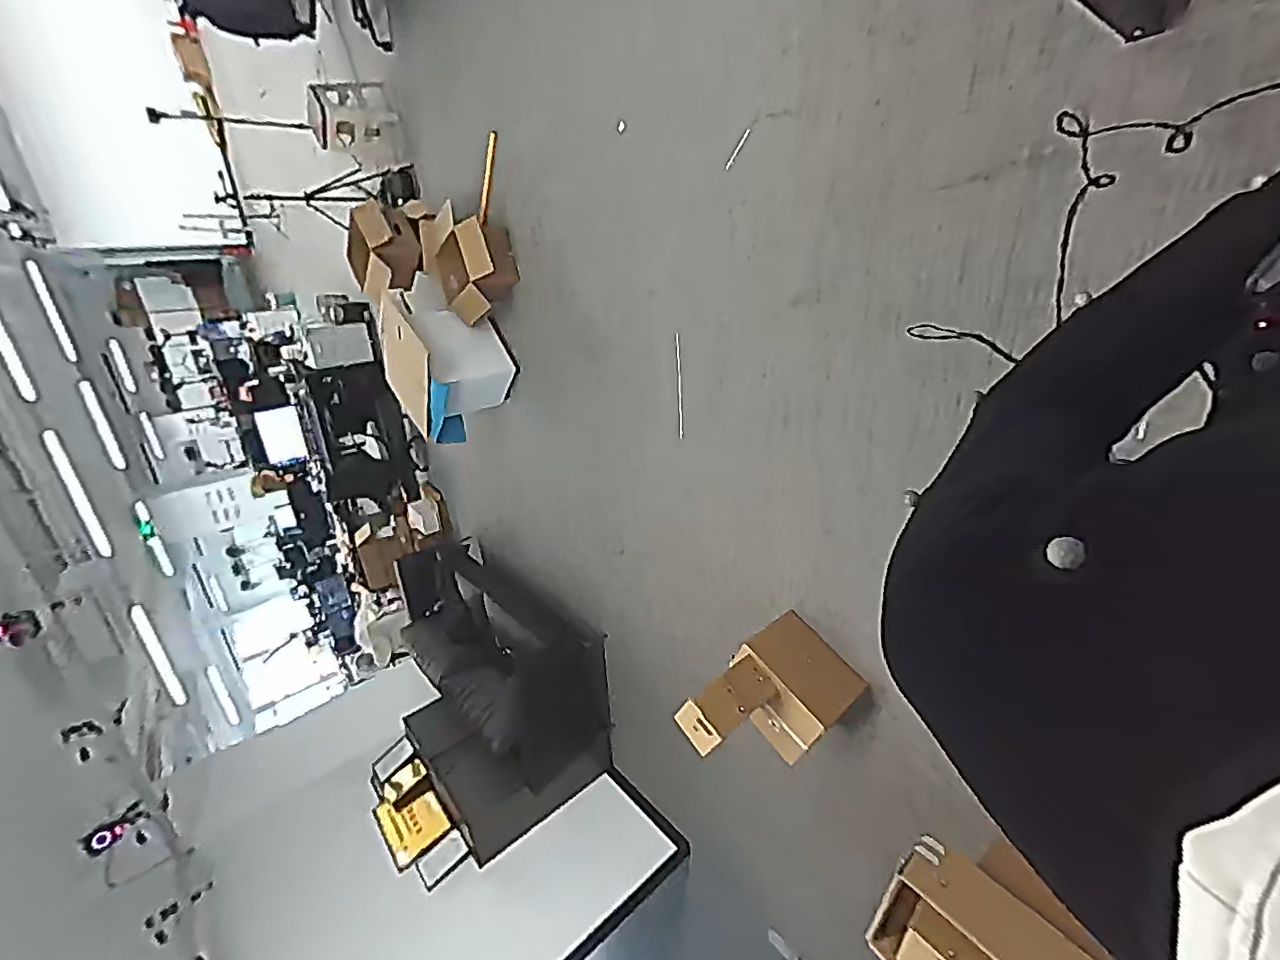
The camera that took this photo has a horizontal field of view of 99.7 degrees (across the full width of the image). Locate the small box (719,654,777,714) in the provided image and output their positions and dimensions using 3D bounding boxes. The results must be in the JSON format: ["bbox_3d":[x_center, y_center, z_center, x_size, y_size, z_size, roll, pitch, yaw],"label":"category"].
[{"bbox_3d":[0.383,0.791,2.034,0.168,0.176,0.179,48,137,25],"label":"small box"}]

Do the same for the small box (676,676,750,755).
[{"bbox_3d":[0.265,0.836,1.930,0.168,0.176,0.179,48,139,24],"label":"small box"}]

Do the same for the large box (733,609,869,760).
[{"bbox_3d":[0.613,0.803,2.162,0.408,0.320,0.320,43,137,29],"label":"large box"}]
